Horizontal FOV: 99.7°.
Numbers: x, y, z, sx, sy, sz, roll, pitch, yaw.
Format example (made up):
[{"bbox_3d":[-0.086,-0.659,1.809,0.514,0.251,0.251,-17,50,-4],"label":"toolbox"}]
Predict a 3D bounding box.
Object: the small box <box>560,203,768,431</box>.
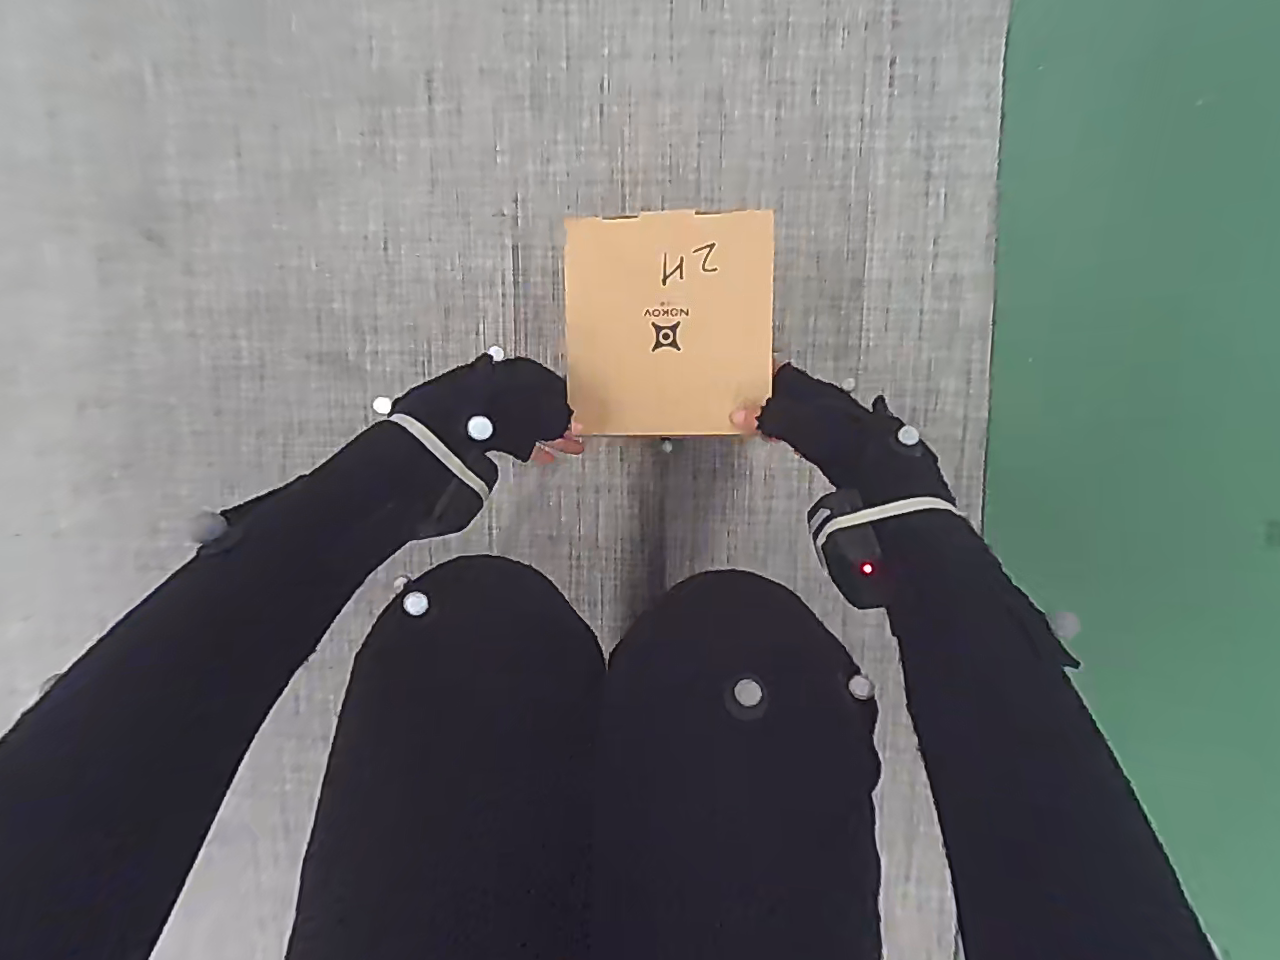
[{"bbox_3d":[0.024,-0.135,0.509,0.168,0.176,0.179,1,94,5],"label":"small box"}]
